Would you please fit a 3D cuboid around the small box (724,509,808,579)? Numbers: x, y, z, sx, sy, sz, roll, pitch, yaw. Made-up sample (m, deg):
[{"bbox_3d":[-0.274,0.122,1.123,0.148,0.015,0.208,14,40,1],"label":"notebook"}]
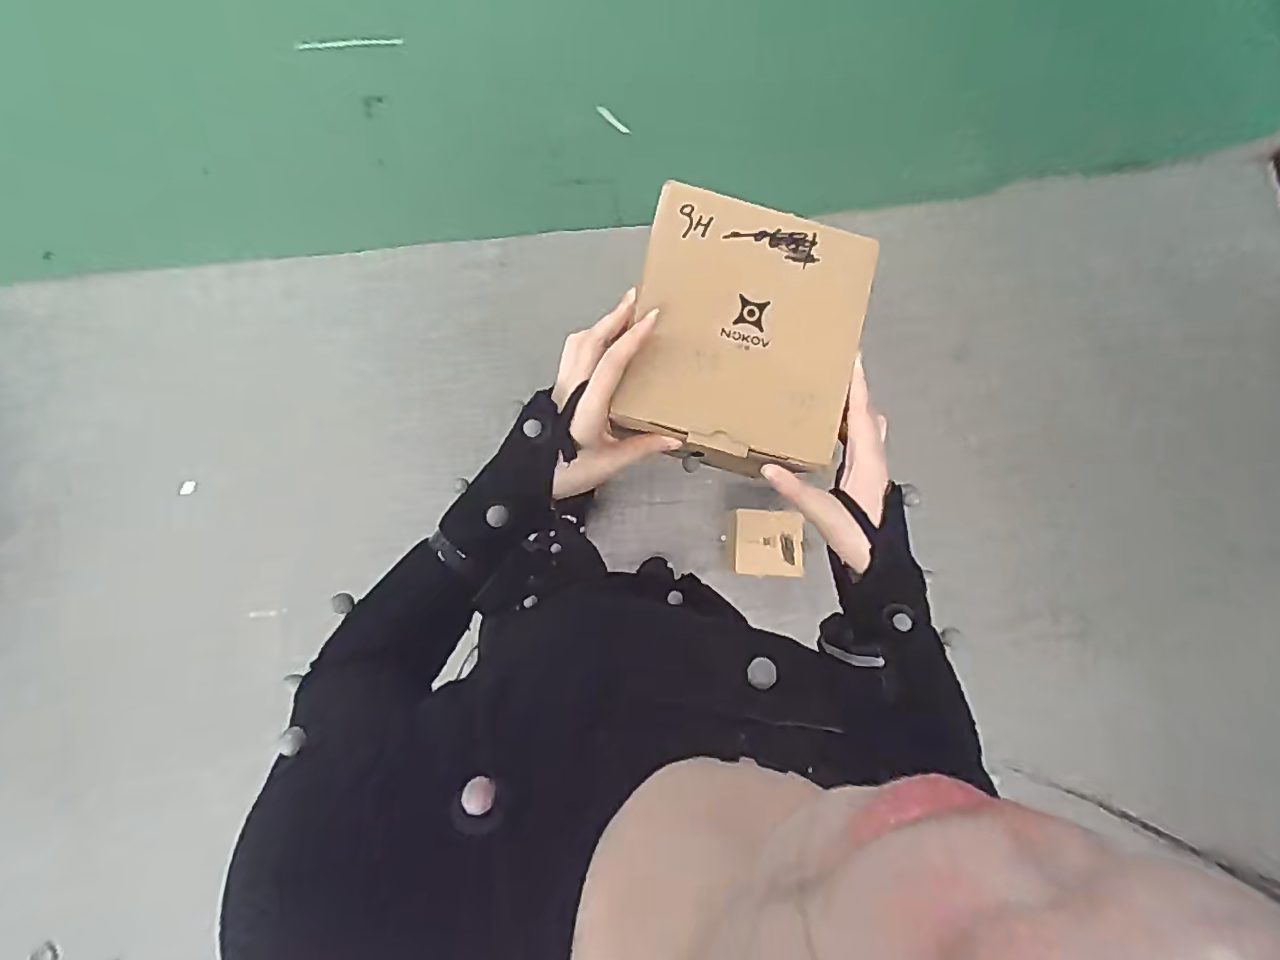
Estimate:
[{"bbox_3d":[0.329,0.167,1.430,0.179,0.176,0.168,4,84,-2],"label":"small box"}]
